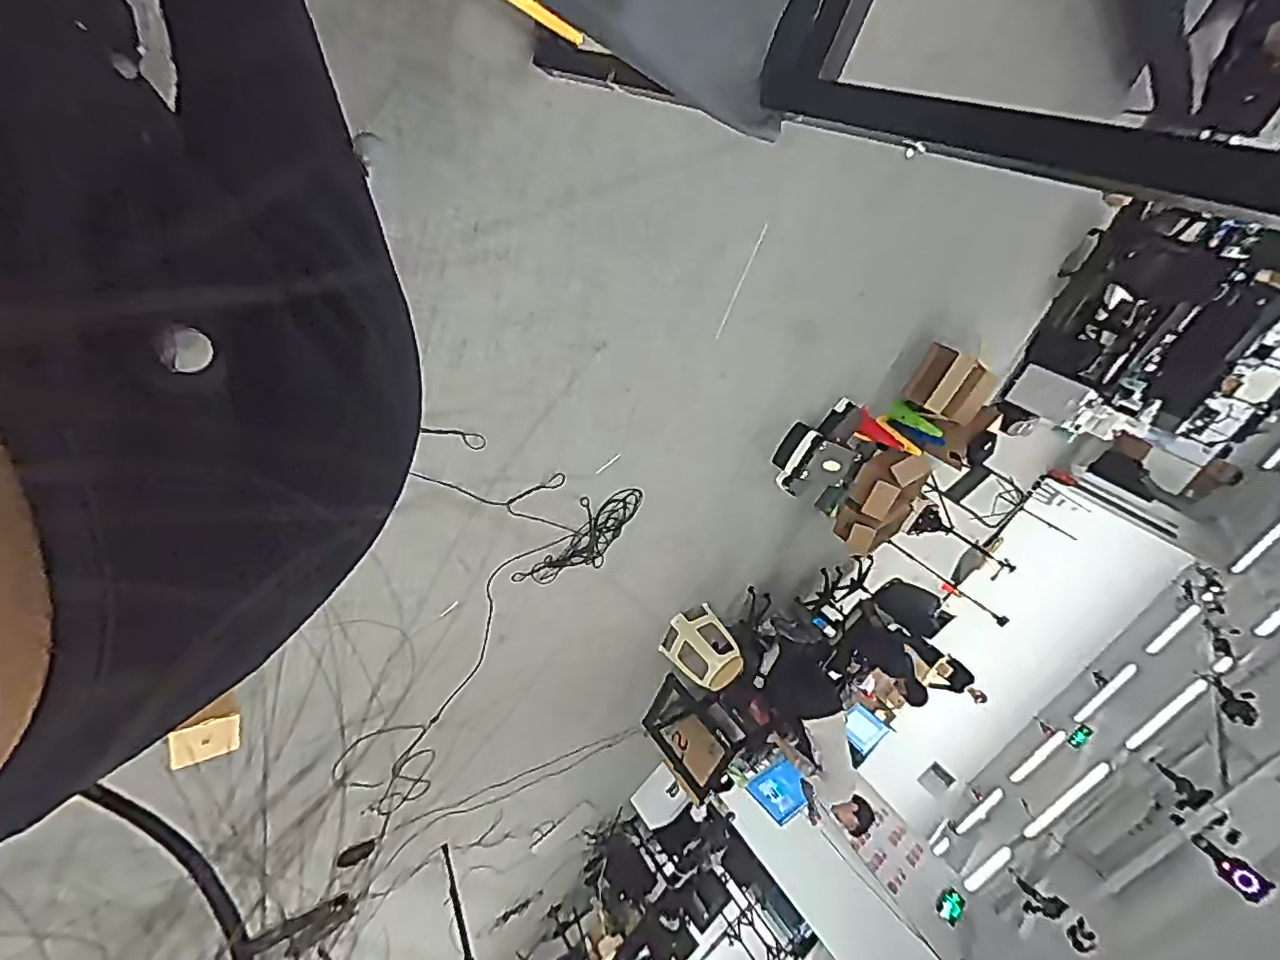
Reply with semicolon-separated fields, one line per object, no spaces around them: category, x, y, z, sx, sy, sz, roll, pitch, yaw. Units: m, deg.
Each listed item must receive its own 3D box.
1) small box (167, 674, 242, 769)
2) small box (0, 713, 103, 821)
small box;-1.343;0.736;1.666;0.168;0.176;0.179;-6;126;-43
small box;-1.573;0.755;1.448;0.168;0.176;0.179;-10;130;-39
